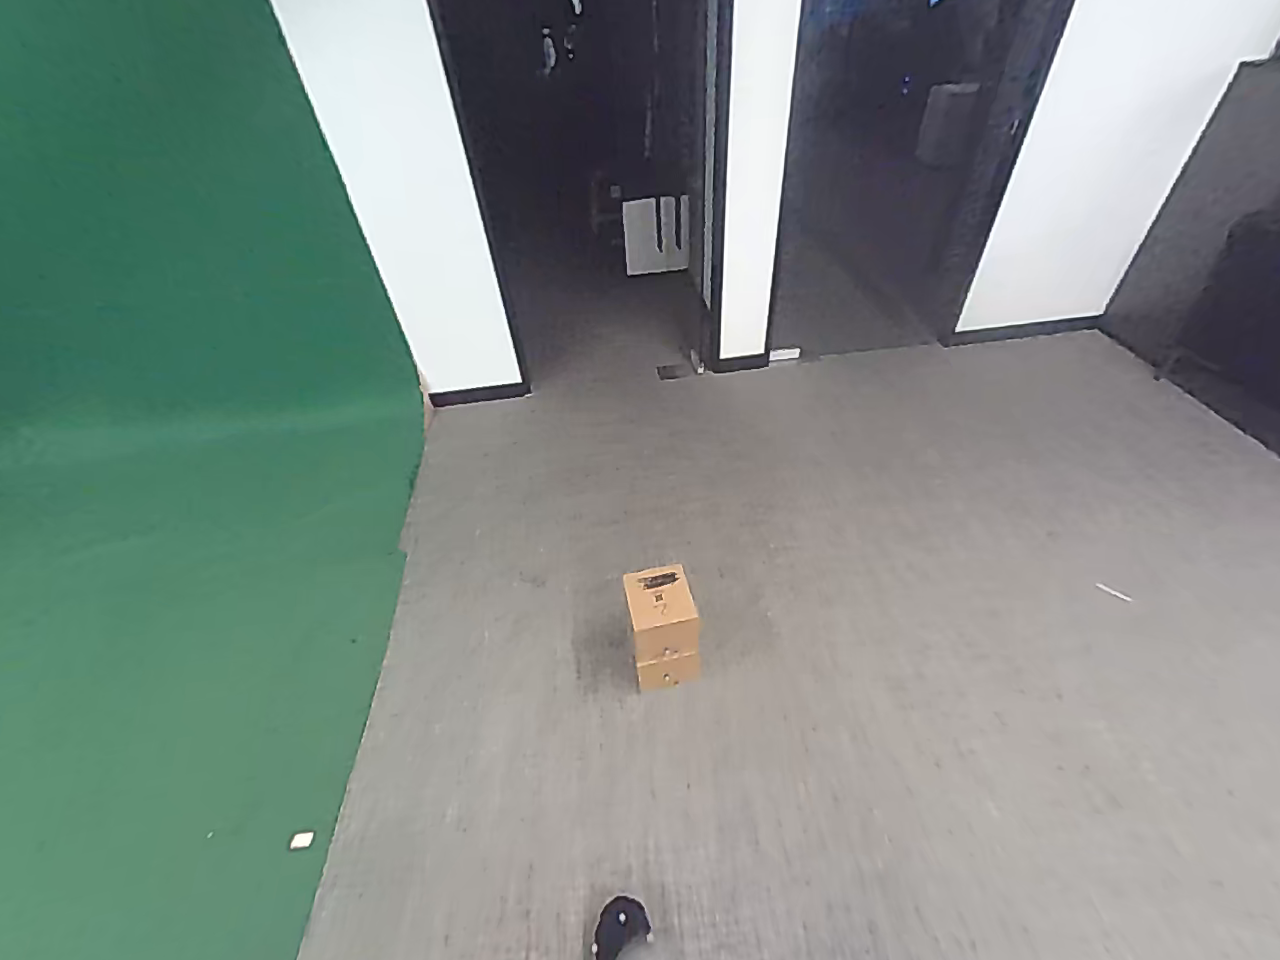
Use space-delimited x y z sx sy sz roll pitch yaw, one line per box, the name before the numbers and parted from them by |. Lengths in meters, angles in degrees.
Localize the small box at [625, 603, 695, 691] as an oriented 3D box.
small box | 0.058 0.485 1.552 0.168 0.176 0.179 -11 44 -7
